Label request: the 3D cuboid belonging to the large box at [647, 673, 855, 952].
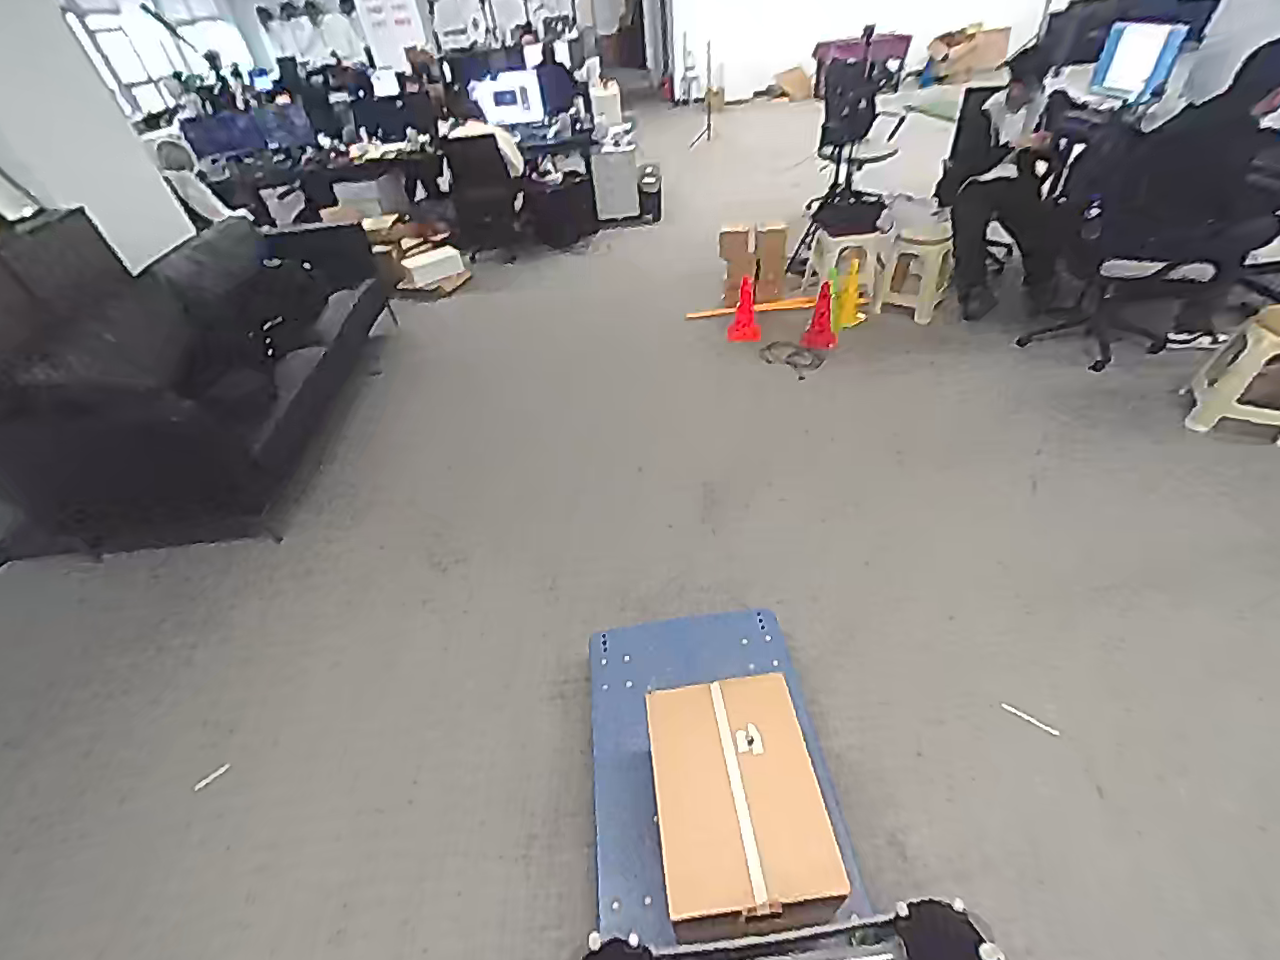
[{"bbox_3d":[0.205,0.689,1.142,0.320,0.320,0.408,-8,41,-1],"label":"large box"}]
